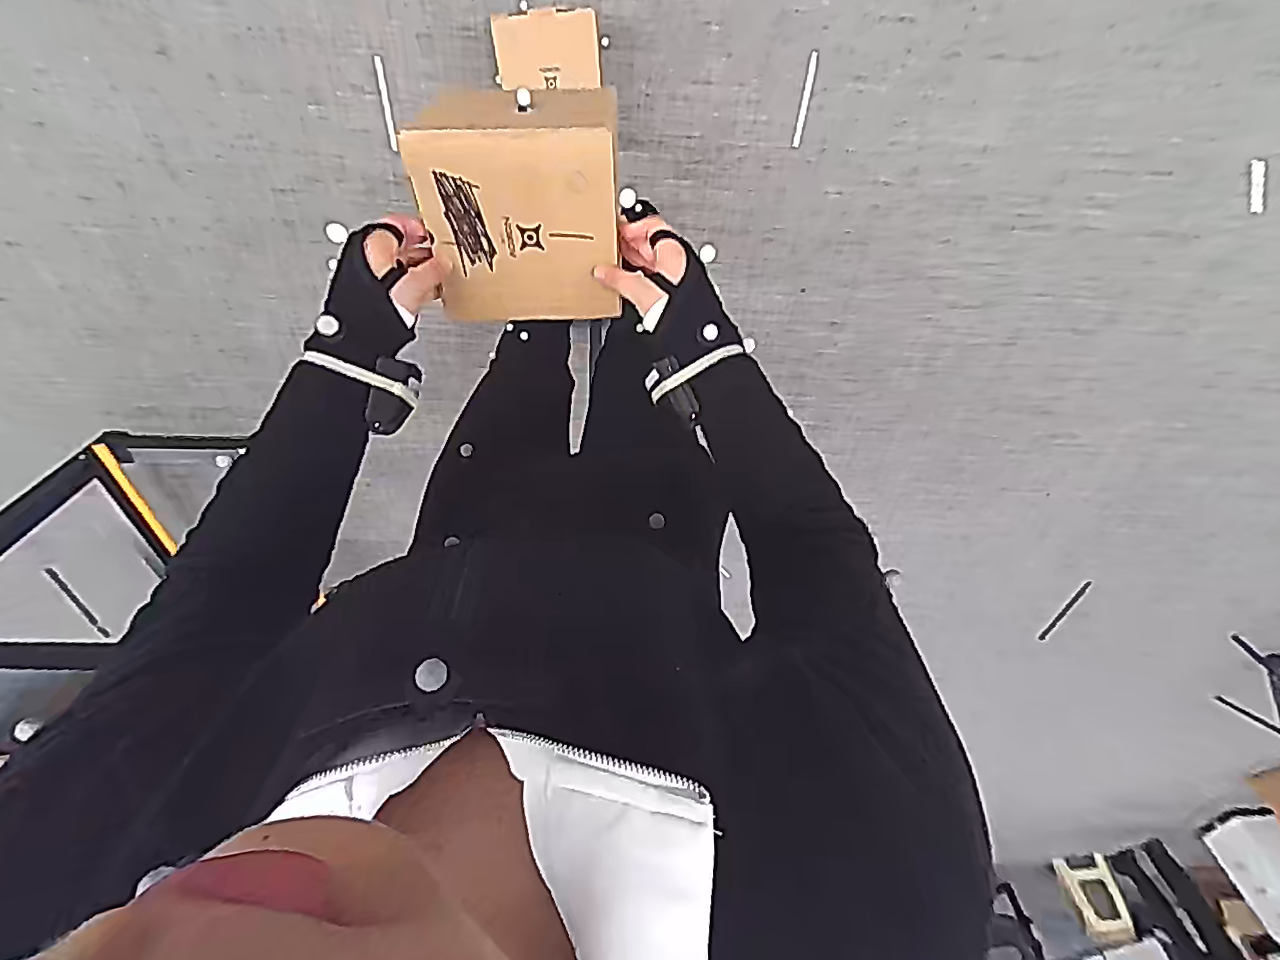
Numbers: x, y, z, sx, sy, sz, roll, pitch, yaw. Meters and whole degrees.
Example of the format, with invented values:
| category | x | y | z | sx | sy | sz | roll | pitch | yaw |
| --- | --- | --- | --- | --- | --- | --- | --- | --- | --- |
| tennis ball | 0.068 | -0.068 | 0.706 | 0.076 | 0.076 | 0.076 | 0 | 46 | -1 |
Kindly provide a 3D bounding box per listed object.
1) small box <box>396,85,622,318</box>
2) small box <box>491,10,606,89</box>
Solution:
| category | x | y | z | sx | sy | sz | roll | pitch | yaw |
| --- | --- | --- | --- | --- | --- | --- | --- | --- | --- |
| small box | -0.109 | -0.279 | 0.542 | 0.179 | 0.176 | 0.168 | -1 | 136 | 0 |
| small box | -0.147 | -0.695 | 0.940 | 0.168 | 0.176 | 0.179 | -3 | 131 | 2 |
